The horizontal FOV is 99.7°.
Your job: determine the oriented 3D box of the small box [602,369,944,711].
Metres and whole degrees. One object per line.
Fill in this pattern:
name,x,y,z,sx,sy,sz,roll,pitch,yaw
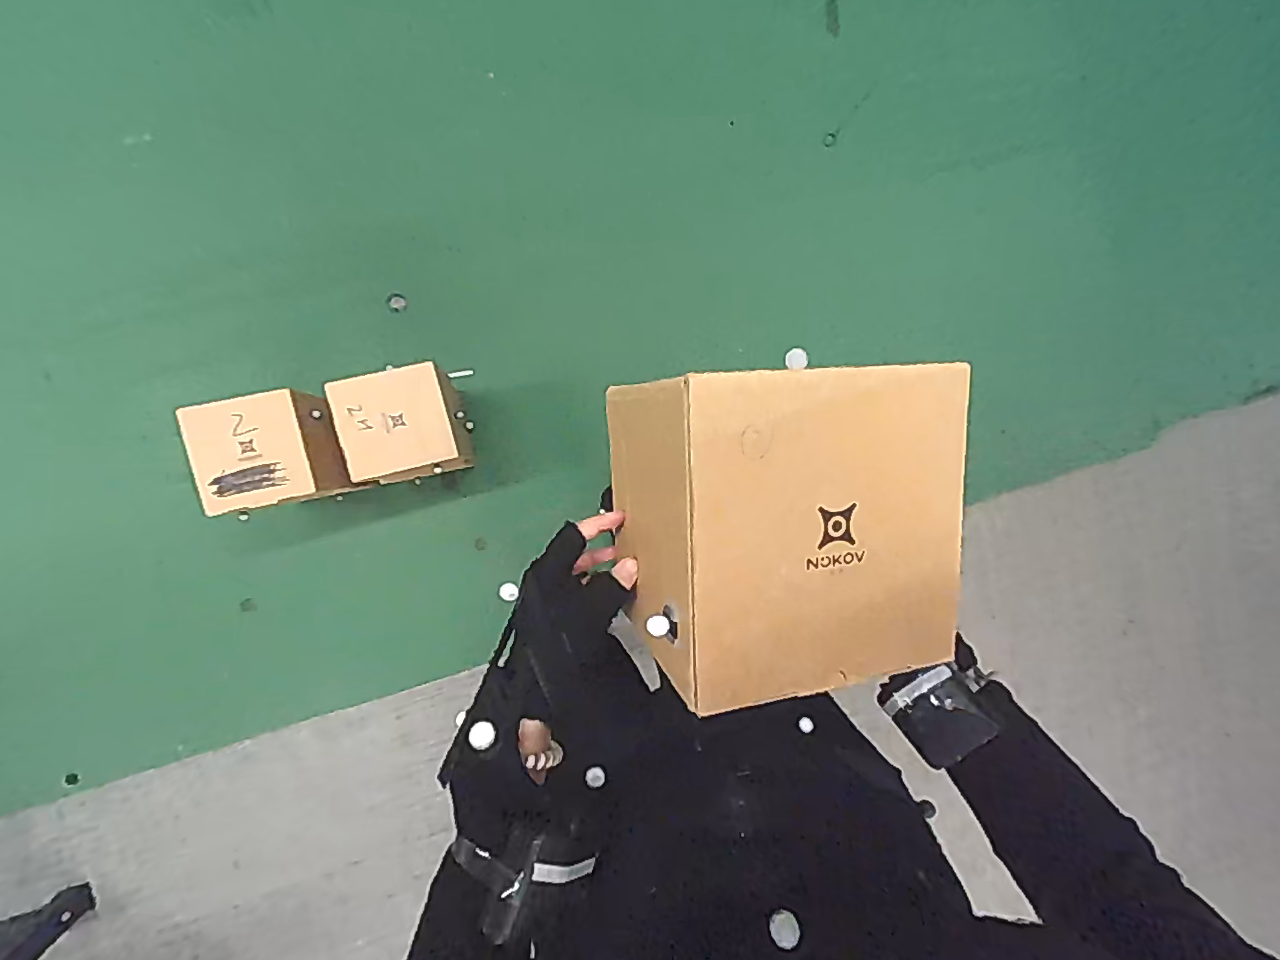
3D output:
small box,0.073,0.020,0.370,0.168,0.176,0.179,-6,100,-16
